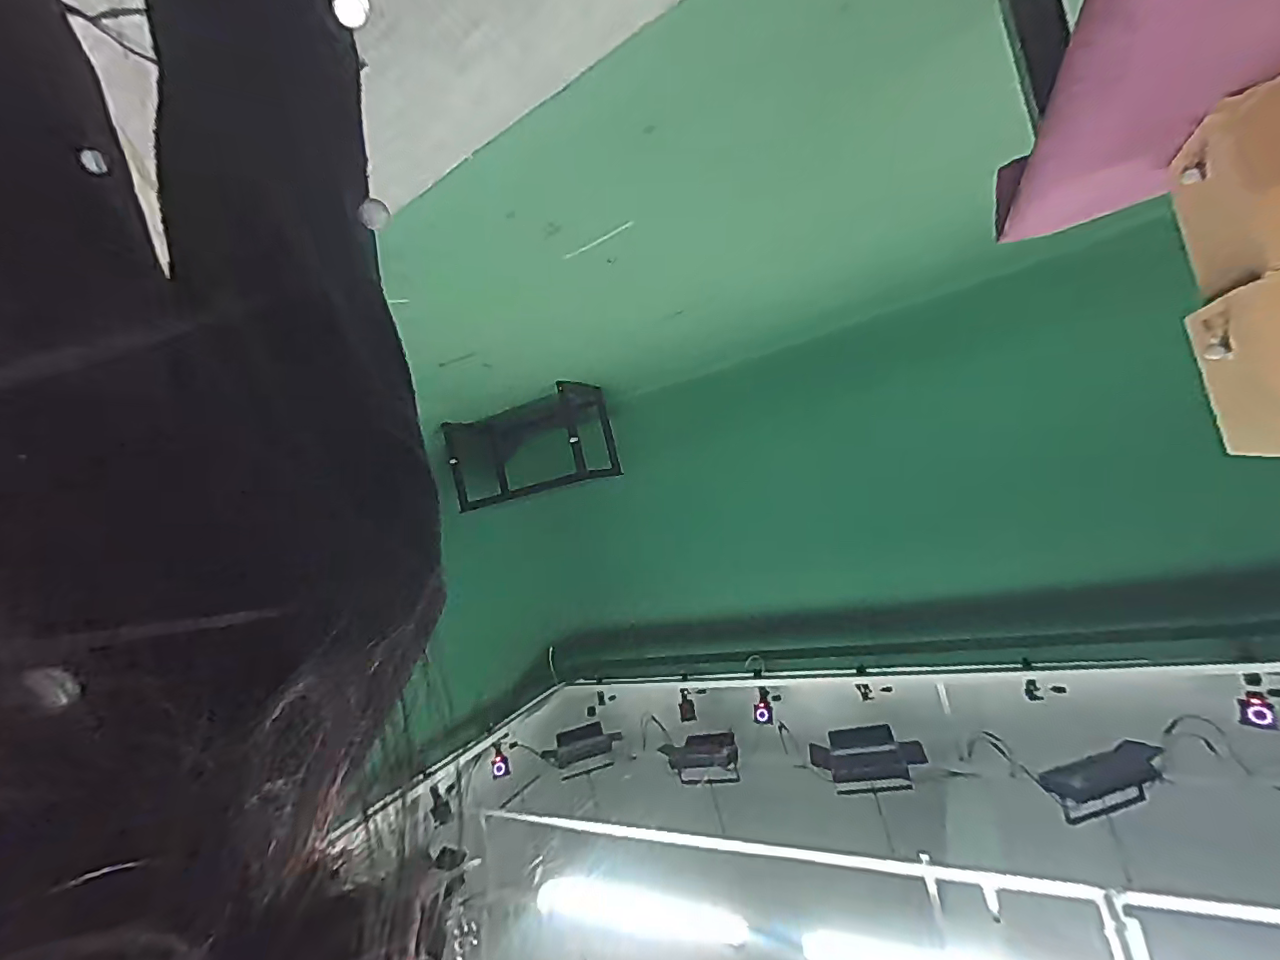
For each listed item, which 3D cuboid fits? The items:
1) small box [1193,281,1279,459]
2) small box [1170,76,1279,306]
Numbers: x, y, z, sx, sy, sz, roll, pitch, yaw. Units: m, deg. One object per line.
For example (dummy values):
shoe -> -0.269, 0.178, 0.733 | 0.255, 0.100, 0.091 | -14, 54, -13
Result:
small box -> 0.680, -0.122, 0.504 | 0.179, 0.176, 0.168 | -16, 175, 31
small box -> 0.643, -0.283, 0.491 | 0.179, 0.176, 0.168 | -16, 176, 31
